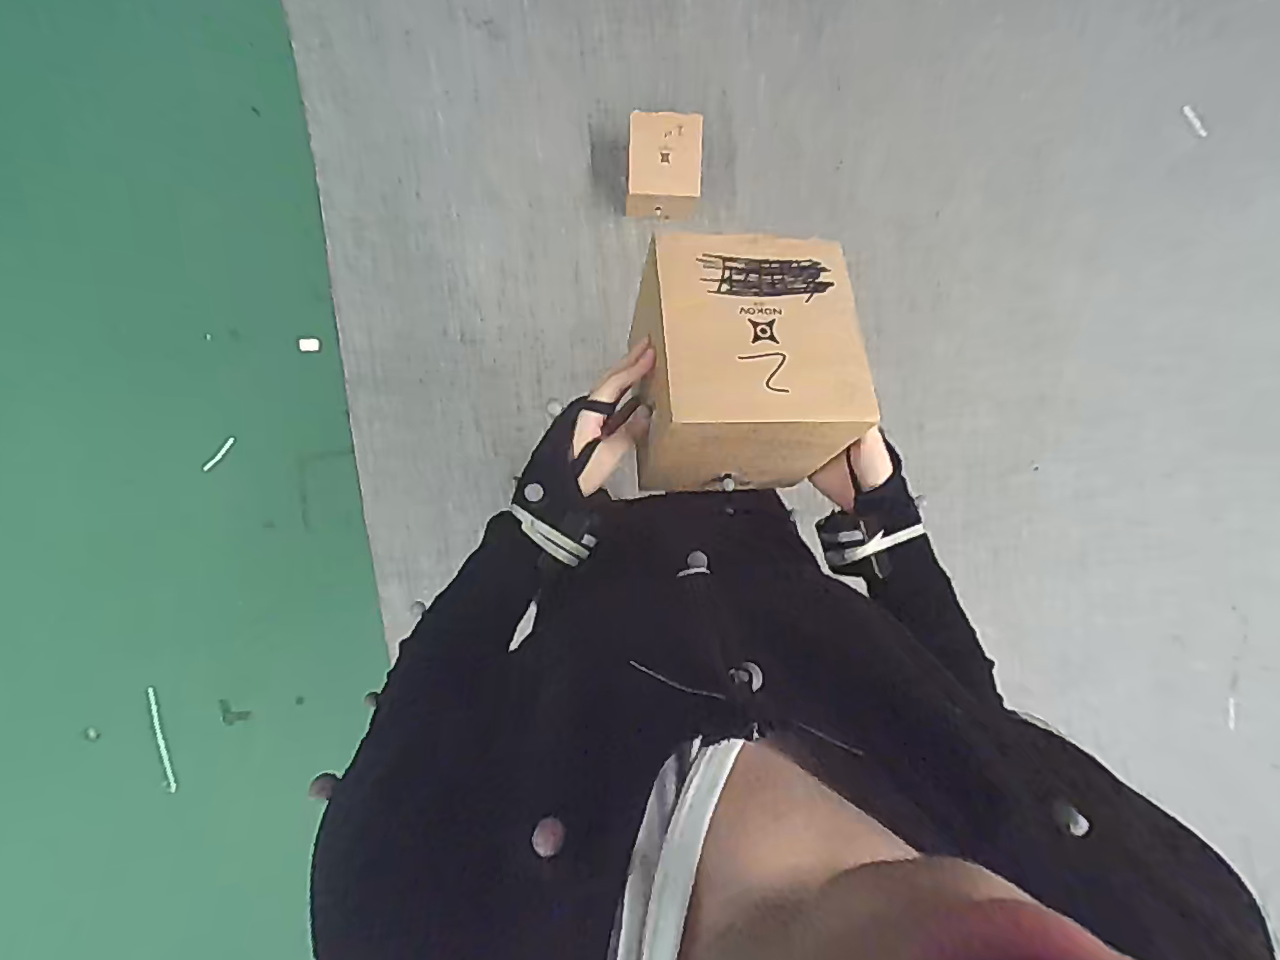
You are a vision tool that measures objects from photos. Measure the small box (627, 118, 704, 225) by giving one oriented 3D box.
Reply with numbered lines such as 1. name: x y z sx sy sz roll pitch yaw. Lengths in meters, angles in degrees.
1. small box: 0.056 -0.728 1.295 0.168 0.176 0.179 1 98 -4
